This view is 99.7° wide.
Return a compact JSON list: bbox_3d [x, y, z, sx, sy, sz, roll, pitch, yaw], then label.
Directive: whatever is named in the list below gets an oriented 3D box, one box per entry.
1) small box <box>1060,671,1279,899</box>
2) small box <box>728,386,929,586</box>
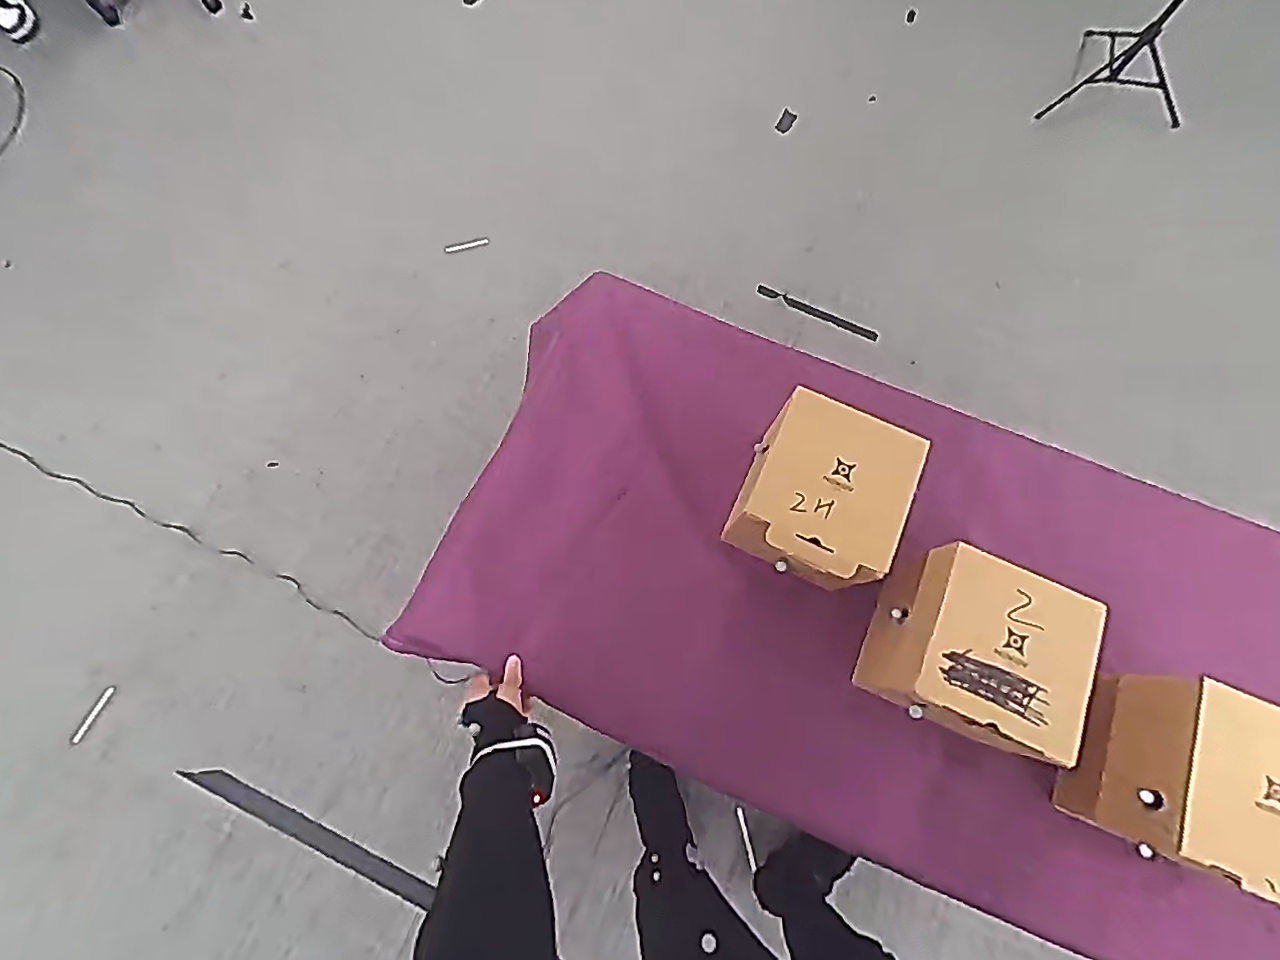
[{"bbox_3d":[0.619,0.328,0.603,0.168,0.176,0.179,23,75,6],"label":"small box"},{"bbox_3d":[0.225,0.017,0.687,0.168,0.176,0.179,25,75,7],"label":"small box"}]
